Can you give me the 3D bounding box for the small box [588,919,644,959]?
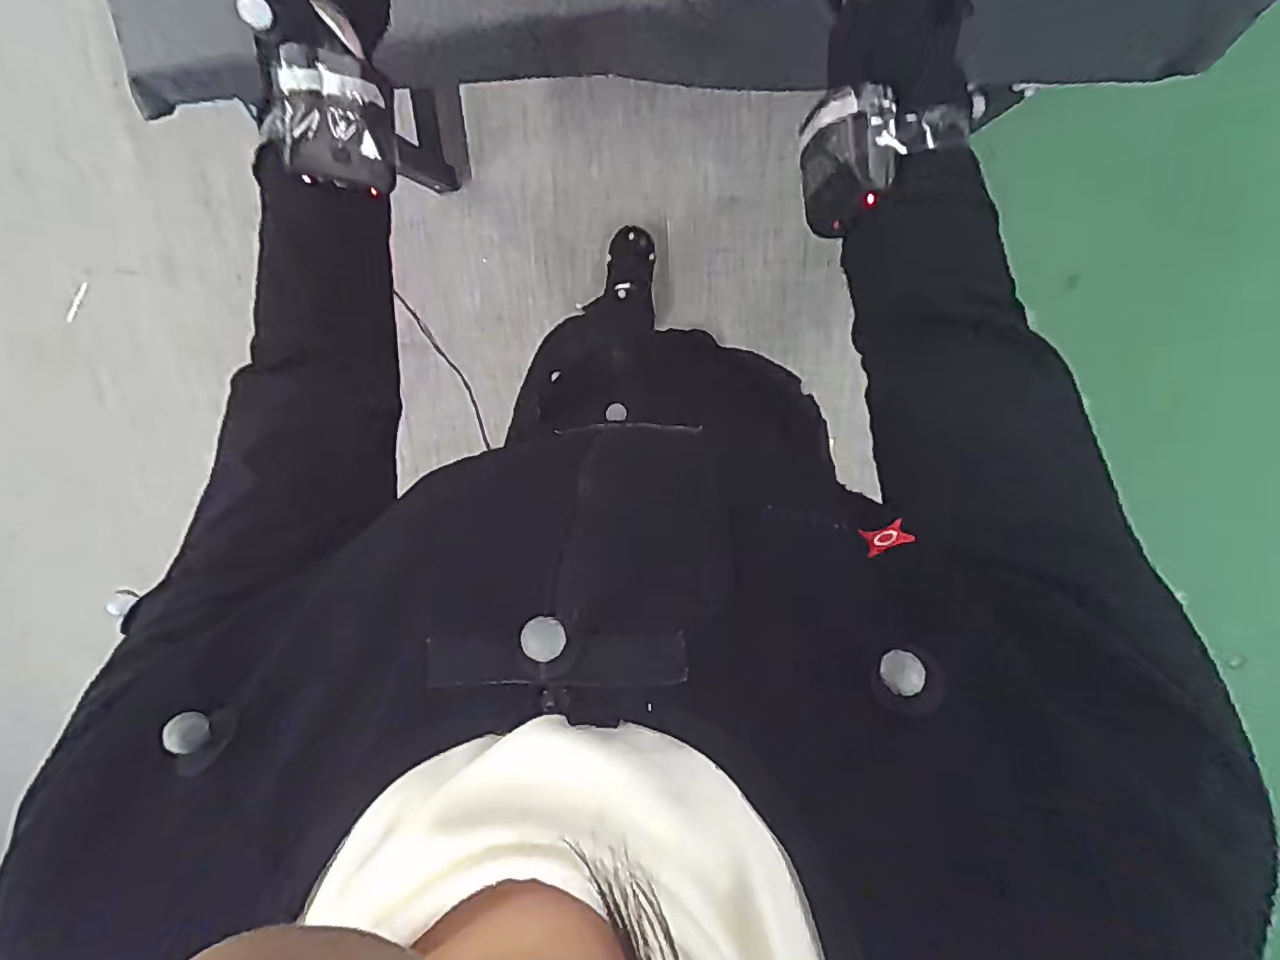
[{"bbox_3d":[-0.084,1.715,1.933,0.179,0.176,0.168,-3,108,6],"label":"small box"}]
